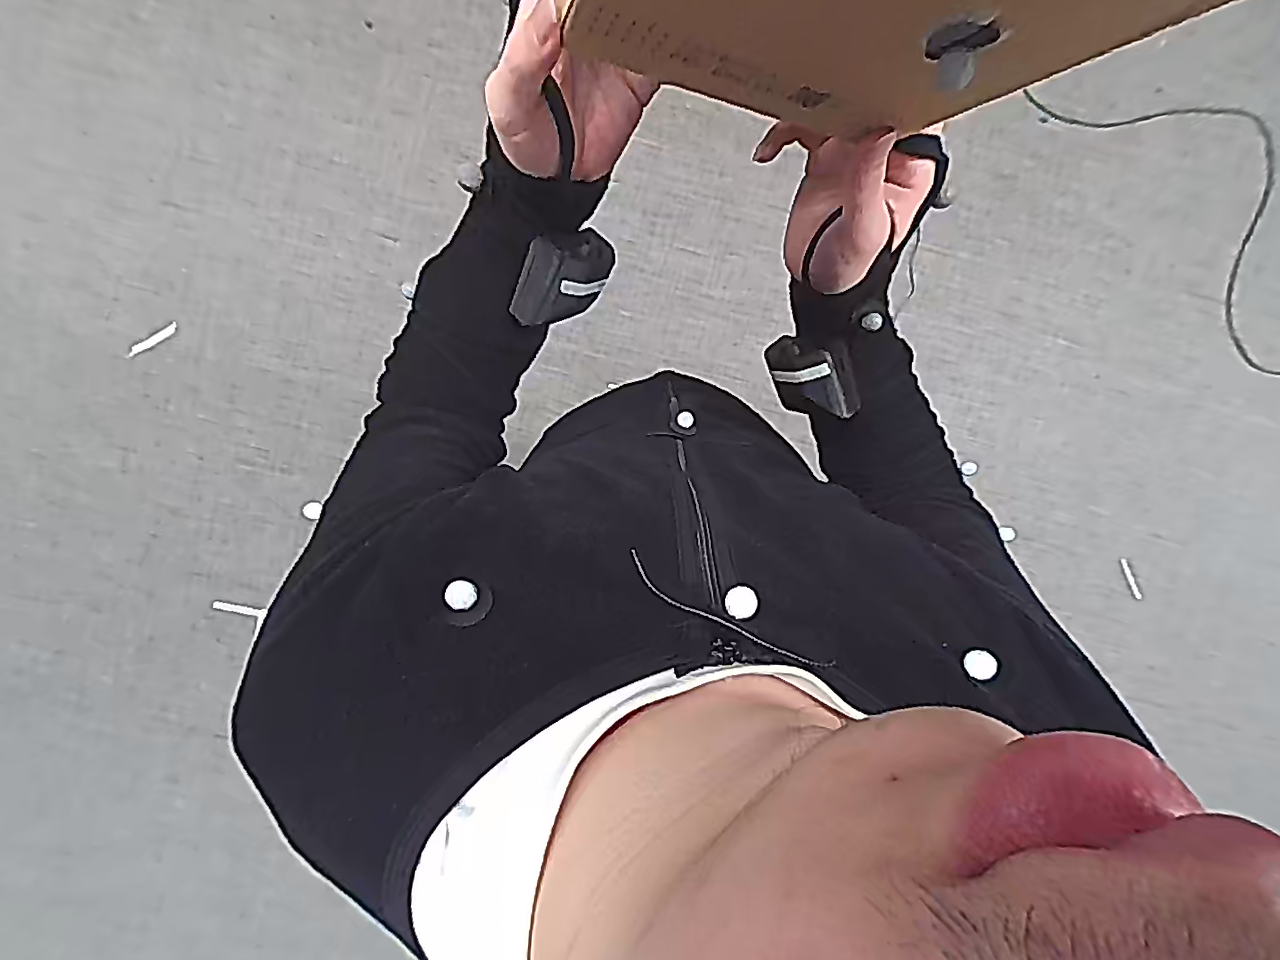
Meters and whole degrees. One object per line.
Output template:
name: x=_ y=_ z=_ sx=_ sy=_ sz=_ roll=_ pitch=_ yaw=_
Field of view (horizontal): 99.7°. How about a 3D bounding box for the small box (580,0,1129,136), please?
small box: x=0.077 y=-0.238 z=0.163 sx=0.168 sy=0.176 sz=0.179 roll=2 pitch=103 yaw=-22
